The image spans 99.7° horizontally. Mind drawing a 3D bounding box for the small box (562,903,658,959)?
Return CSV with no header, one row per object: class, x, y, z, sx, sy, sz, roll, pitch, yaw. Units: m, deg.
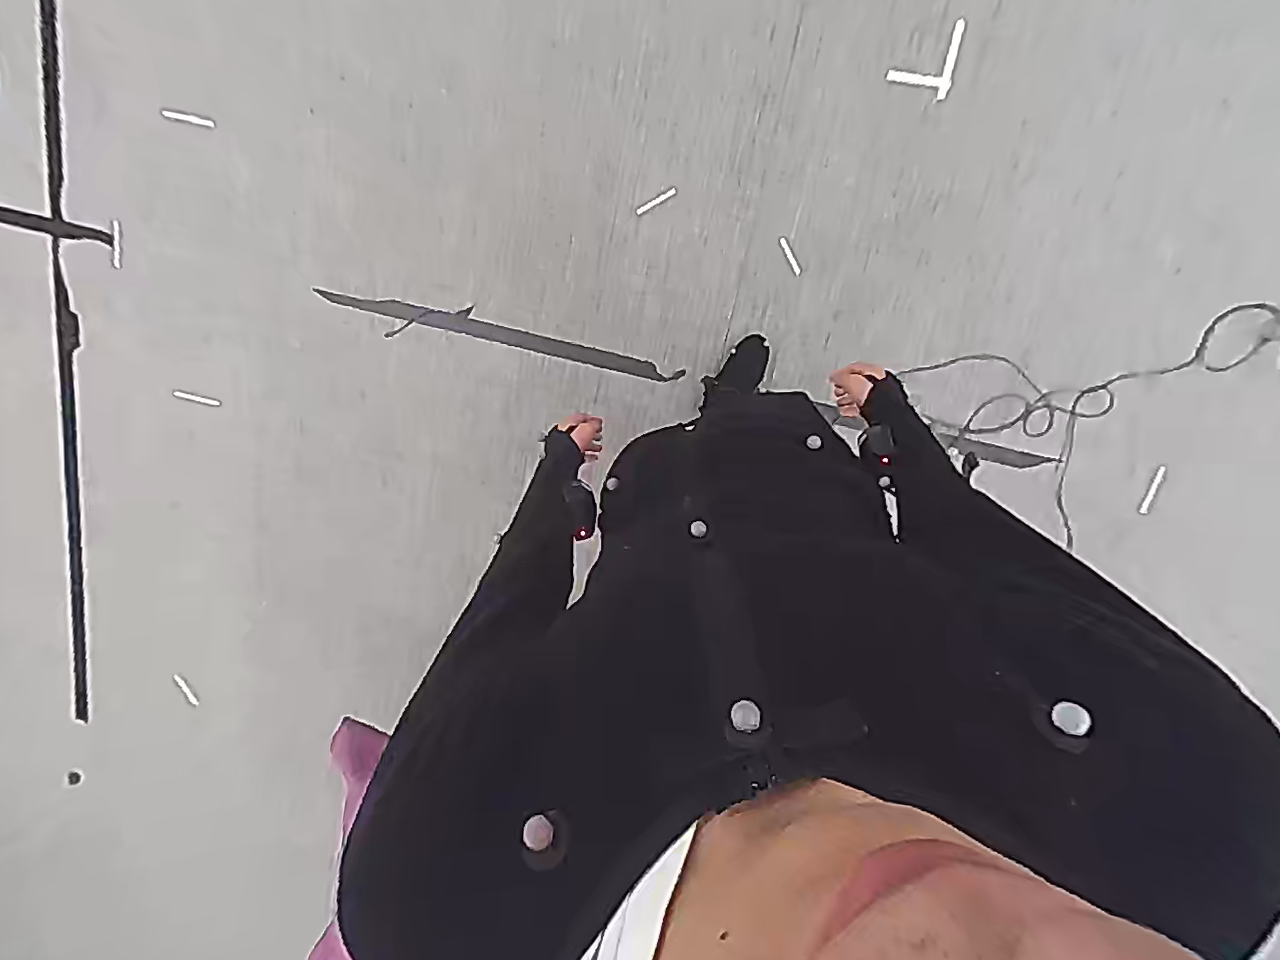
small box,-0.069,0.967,1.040,0.179,0.176,0.168,11,105,4
